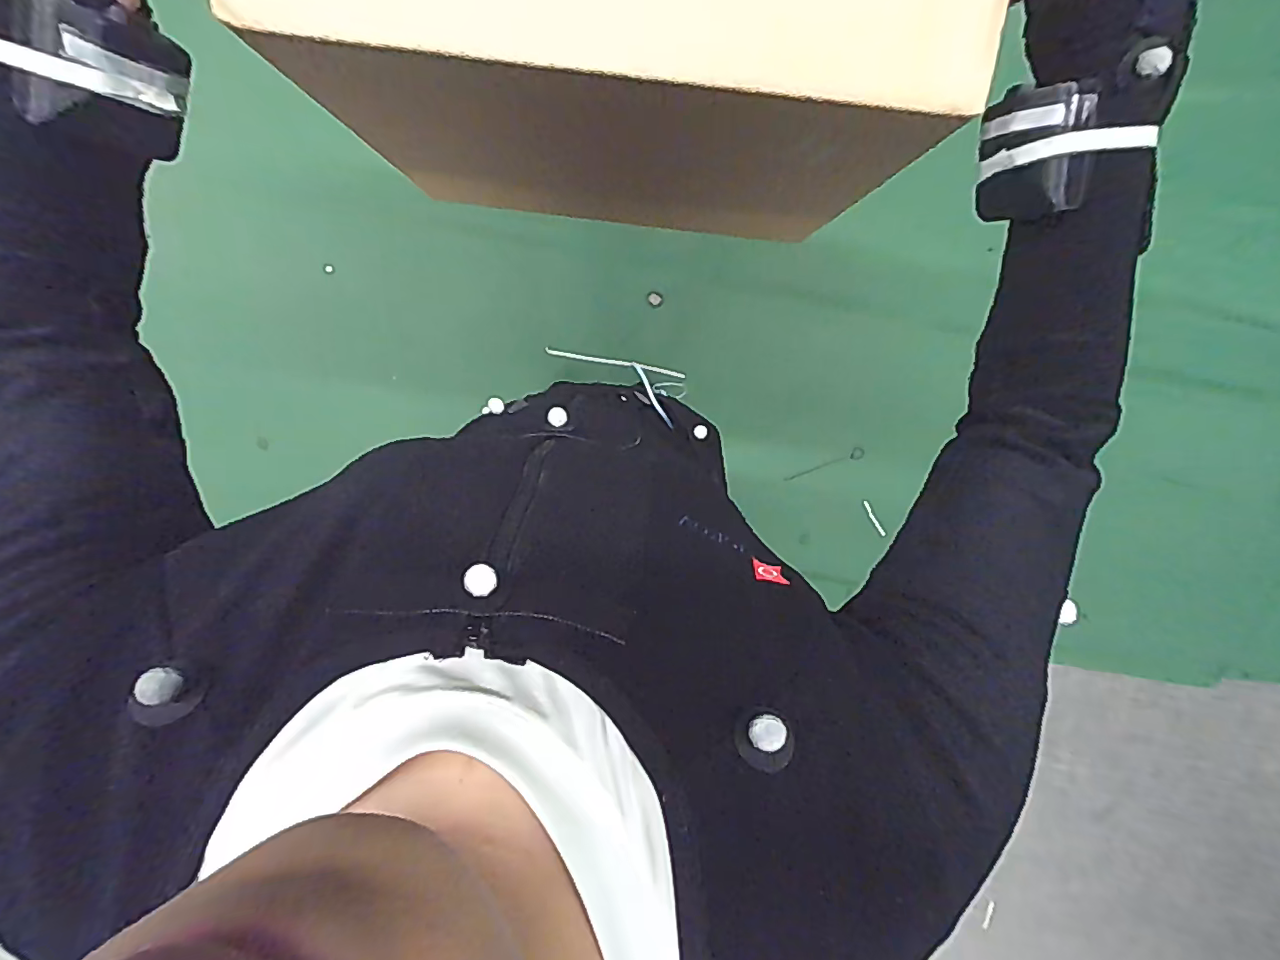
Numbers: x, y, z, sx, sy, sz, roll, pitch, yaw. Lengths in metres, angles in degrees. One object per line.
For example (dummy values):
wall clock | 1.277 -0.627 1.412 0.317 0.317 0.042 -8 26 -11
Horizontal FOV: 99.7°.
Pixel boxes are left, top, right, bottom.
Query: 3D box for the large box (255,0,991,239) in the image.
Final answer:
large box | 0.000 -0.399 0.415 0.408 0.320 0.320 6 102 -2
